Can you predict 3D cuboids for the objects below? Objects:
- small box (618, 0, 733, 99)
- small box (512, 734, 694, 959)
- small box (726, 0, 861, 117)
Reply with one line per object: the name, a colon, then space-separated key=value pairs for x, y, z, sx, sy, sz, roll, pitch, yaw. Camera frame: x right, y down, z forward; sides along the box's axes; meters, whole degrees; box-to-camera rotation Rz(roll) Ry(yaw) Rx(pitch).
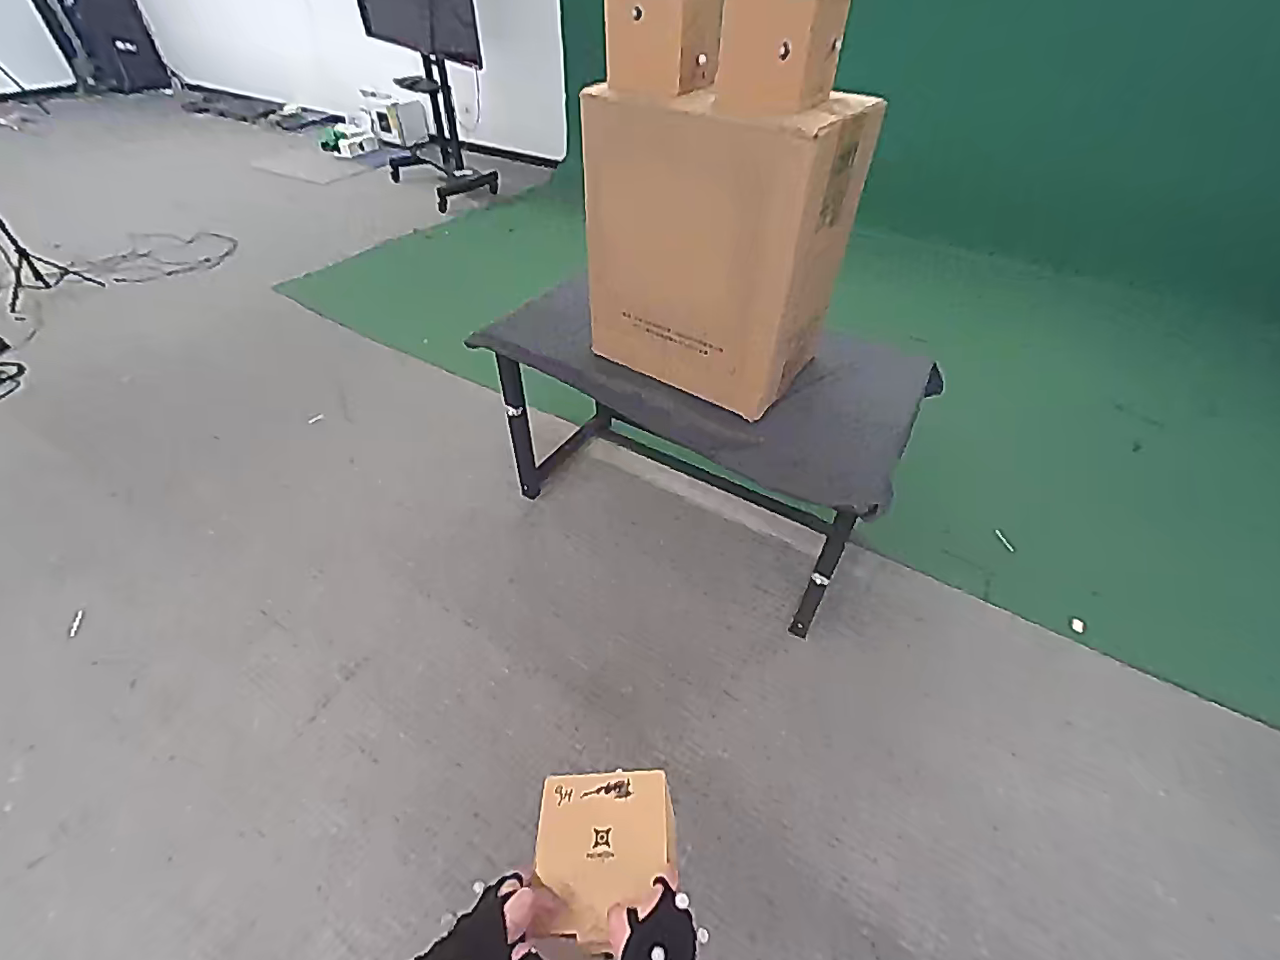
small box: x=0.070 y=-0.901 z=1.108 sx=0.179 sy=0.176 sz=0.168 roll=28 pitch=54 yaw=26
small box: x=-0.045 y=0.495 z=0.729 sx=0.179 sy=0.176 sz=0.168 roll=-26 pitch=39 yaw=-19
small box: x=0.281 y=-0.799 z=1.014 sx=0.179 sy=0.176 sz=0.168 roll=27 pitch=51 yaw=24
